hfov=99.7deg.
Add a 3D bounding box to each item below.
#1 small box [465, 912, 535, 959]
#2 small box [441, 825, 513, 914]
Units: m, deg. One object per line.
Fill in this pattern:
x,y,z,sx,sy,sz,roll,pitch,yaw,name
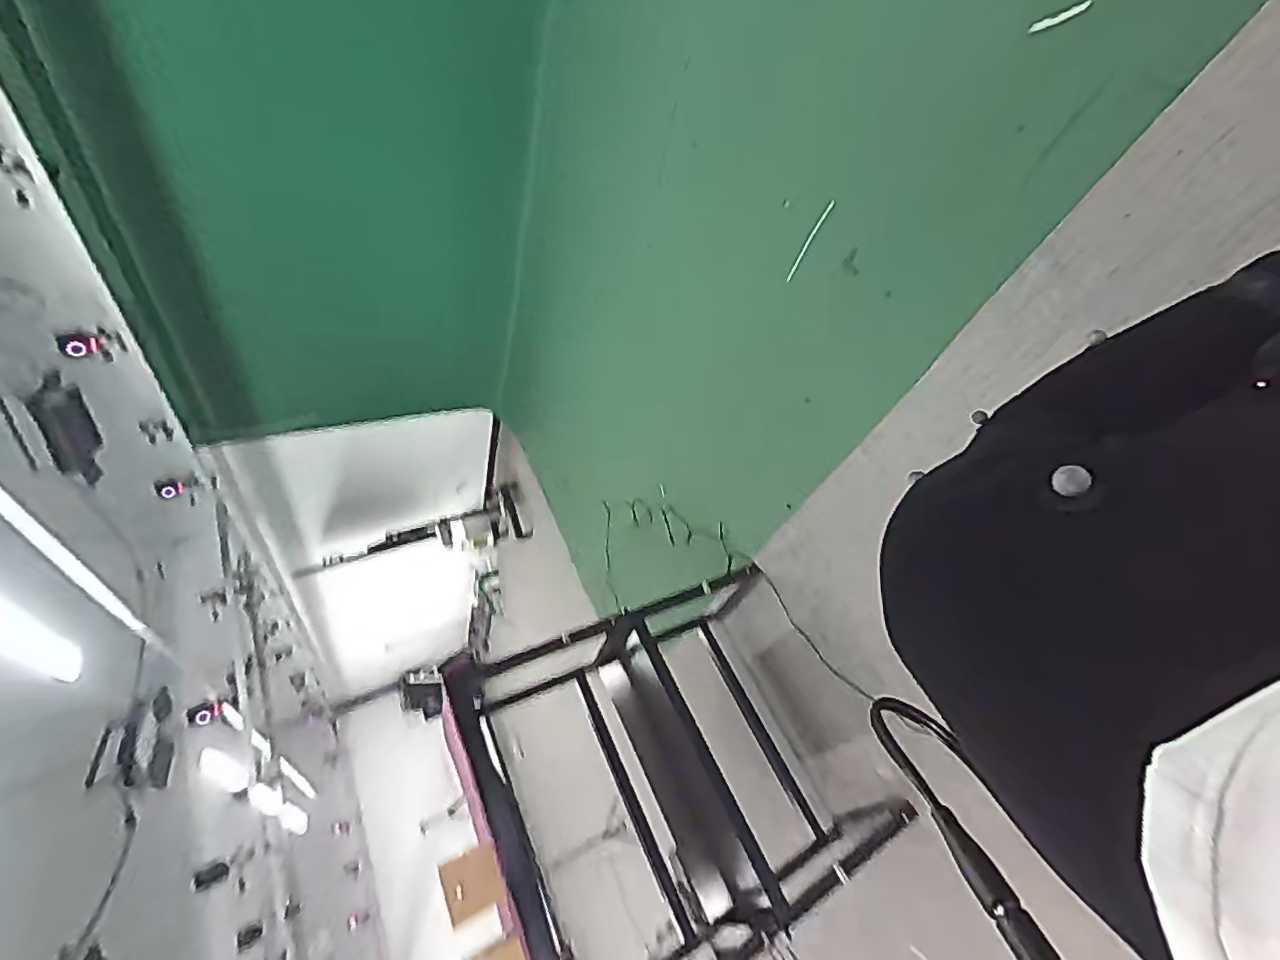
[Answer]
-0.396,1.400,1.559,0.179,0.176,0.168,63,149,24,small box
-0.509,1.201,1.676,0.179,0.176,0.168,59,149,27,small box
